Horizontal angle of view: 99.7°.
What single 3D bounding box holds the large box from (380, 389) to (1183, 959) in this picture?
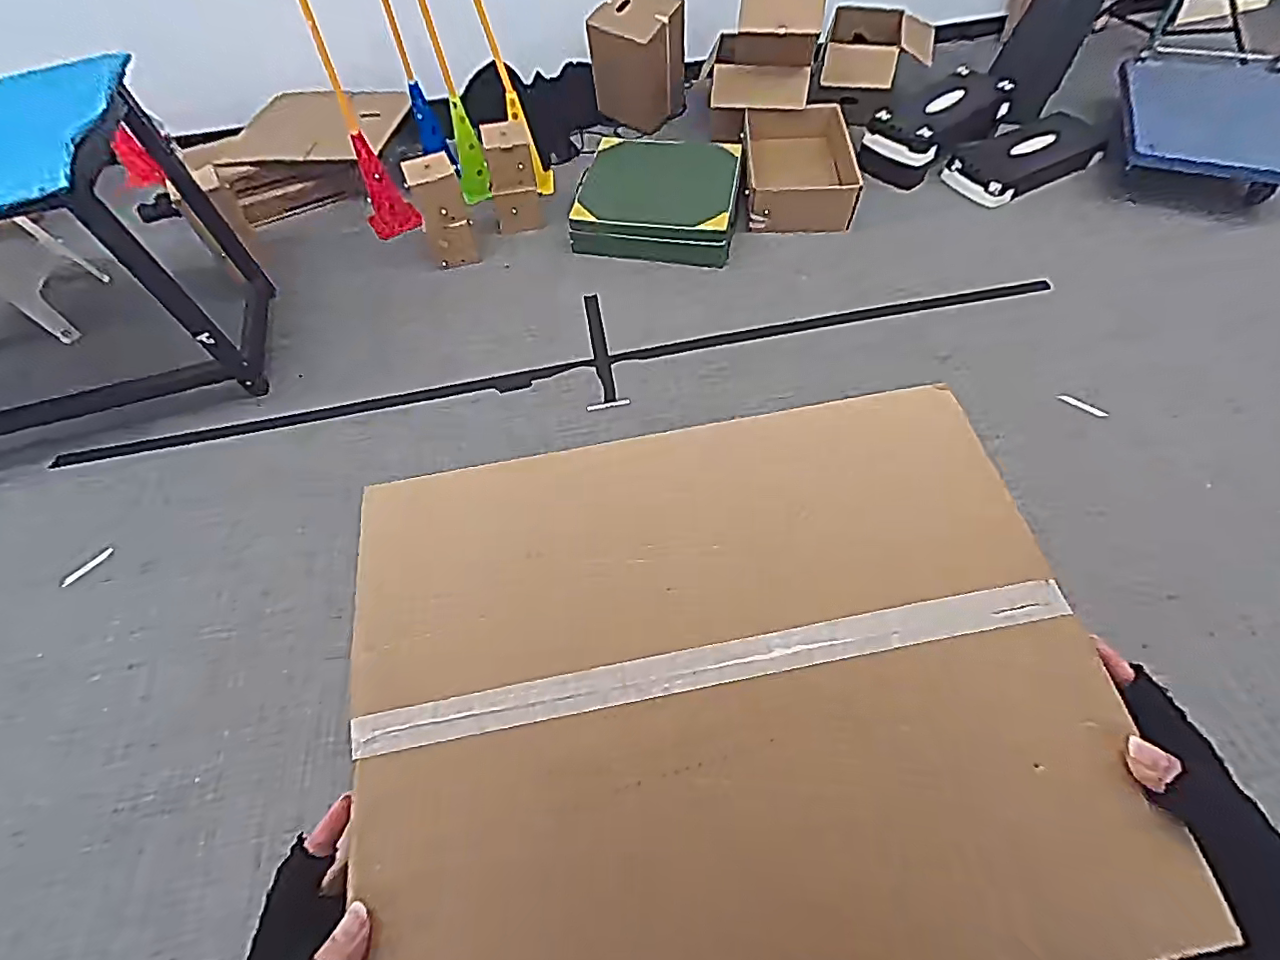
[{"bbox_3d":[0.052,0.171,0.454,0.408,0.320,0.320,-11,65,-2],"label":"large box"}]
